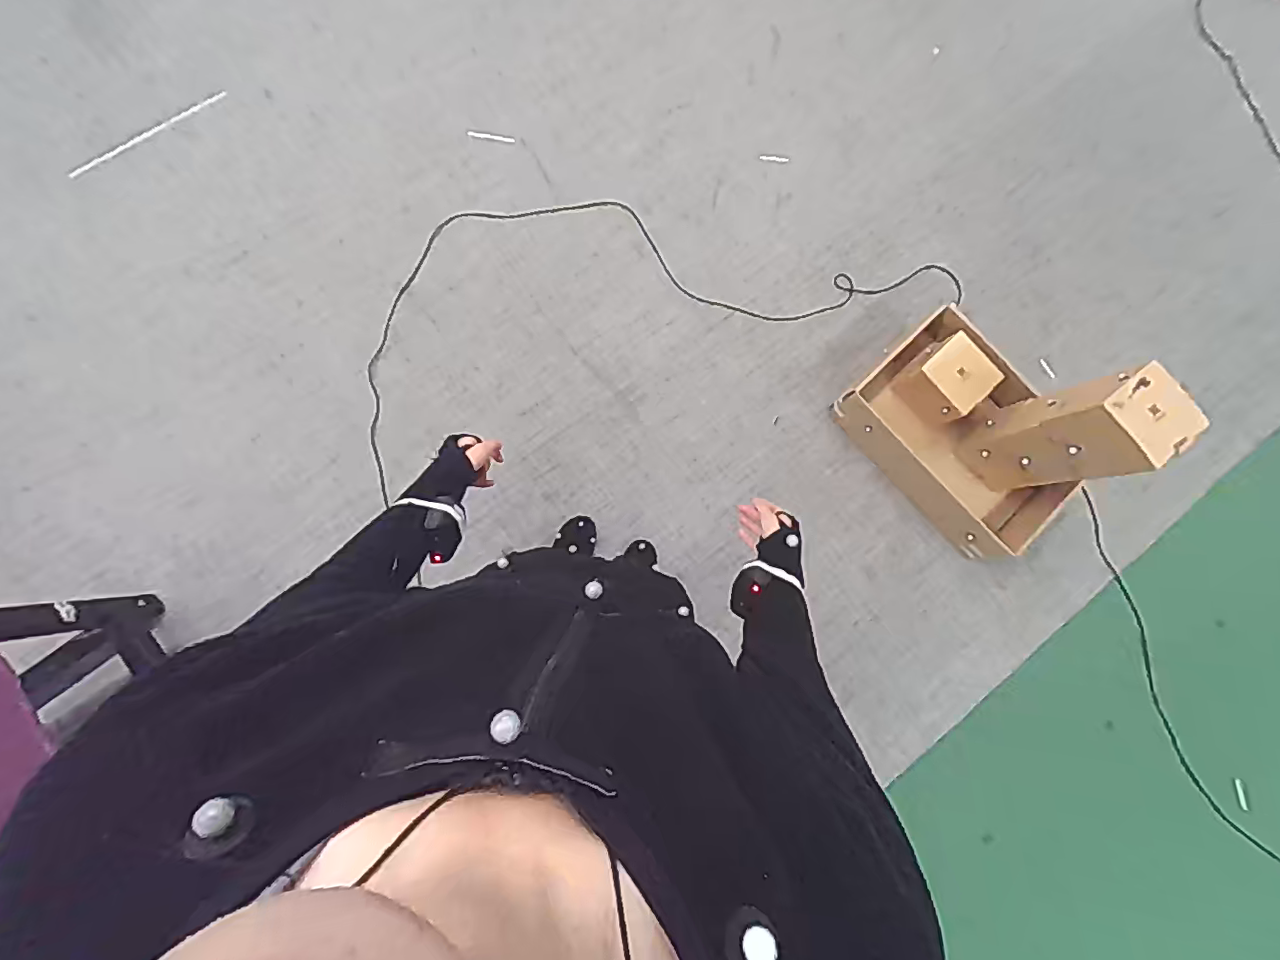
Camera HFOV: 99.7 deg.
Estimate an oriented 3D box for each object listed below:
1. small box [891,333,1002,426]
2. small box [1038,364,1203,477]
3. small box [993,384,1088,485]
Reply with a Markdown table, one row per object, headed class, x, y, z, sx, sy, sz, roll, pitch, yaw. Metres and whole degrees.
| class | x | y | z | sx | sy | sz | roll | pitch | yaw |
| --- | --- | --- | --- | --- | --- | --- | --- | --- | --- |
| small box | 0.854 | -0.275 | 1.527 | 0.168 | 0.176 | 0.179 | -42 | 89 | -7 |
| small box | 1.046 | -0.120 | 1.190 | 0.168 | 0.176 | 0.179 | -36 | 87 | -8 |
| small box | 1.044 | -0.108 | 1.356 | 0.179 | 0.176 | 0.168 | -40 | 87 | -8 |
